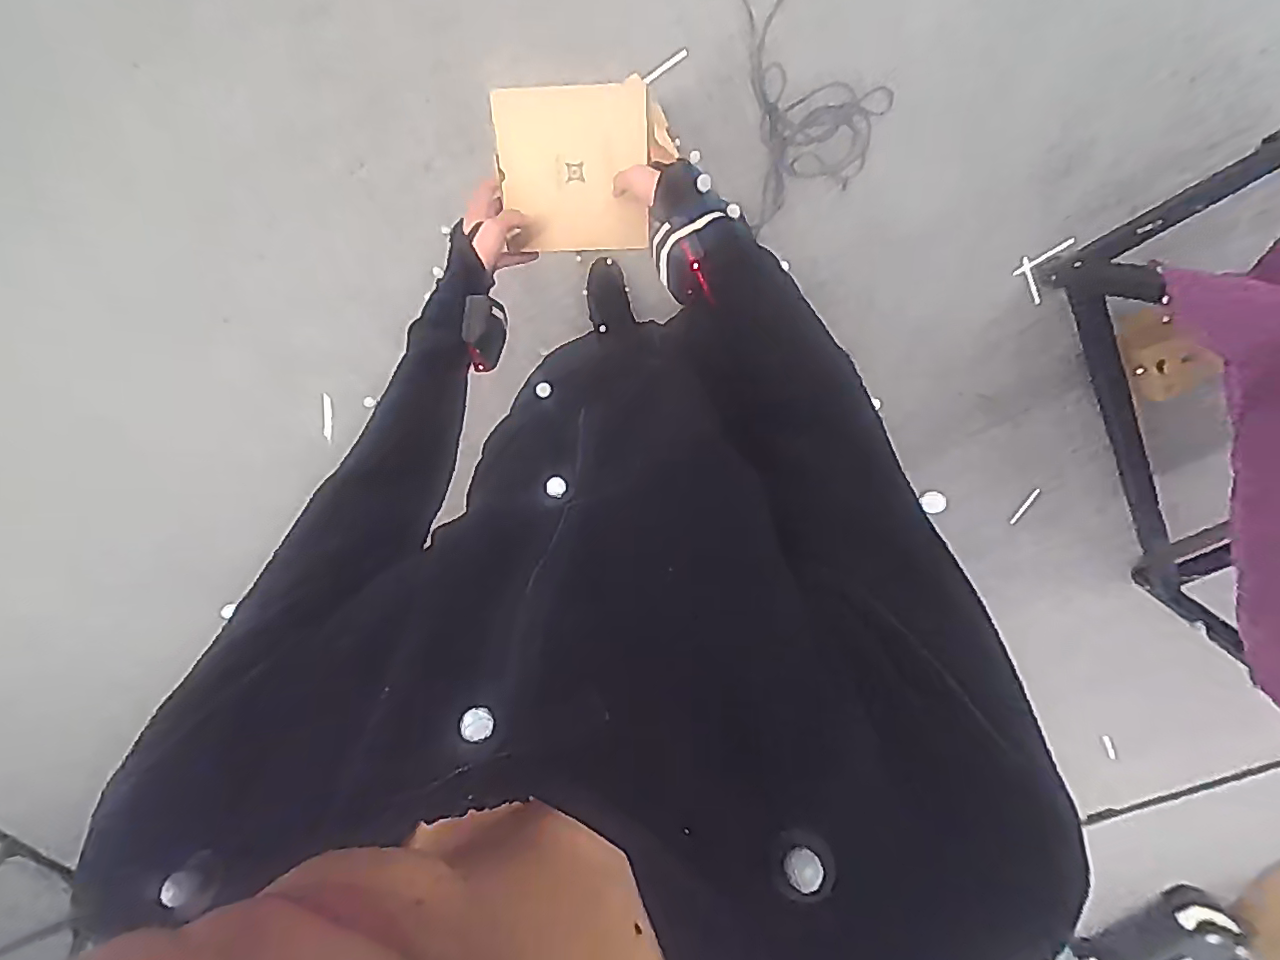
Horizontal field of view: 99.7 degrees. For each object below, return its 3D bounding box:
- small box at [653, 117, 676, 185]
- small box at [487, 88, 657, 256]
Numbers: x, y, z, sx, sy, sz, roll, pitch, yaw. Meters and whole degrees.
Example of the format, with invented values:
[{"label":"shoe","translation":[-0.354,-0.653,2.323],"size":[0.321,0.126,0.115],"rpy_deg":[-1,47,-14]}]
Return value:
[{"label":"small box","translation":[-0.029,-0.750,1.252],"size":[0.179,0.176,0.168],"rpy_deg":[-30,111,15]},{"label":"small box","translation":[-0.072,-0.373,0.682],"size":[0.179,0.176,0.168],"rpy_deg":[1,114,5]}]
